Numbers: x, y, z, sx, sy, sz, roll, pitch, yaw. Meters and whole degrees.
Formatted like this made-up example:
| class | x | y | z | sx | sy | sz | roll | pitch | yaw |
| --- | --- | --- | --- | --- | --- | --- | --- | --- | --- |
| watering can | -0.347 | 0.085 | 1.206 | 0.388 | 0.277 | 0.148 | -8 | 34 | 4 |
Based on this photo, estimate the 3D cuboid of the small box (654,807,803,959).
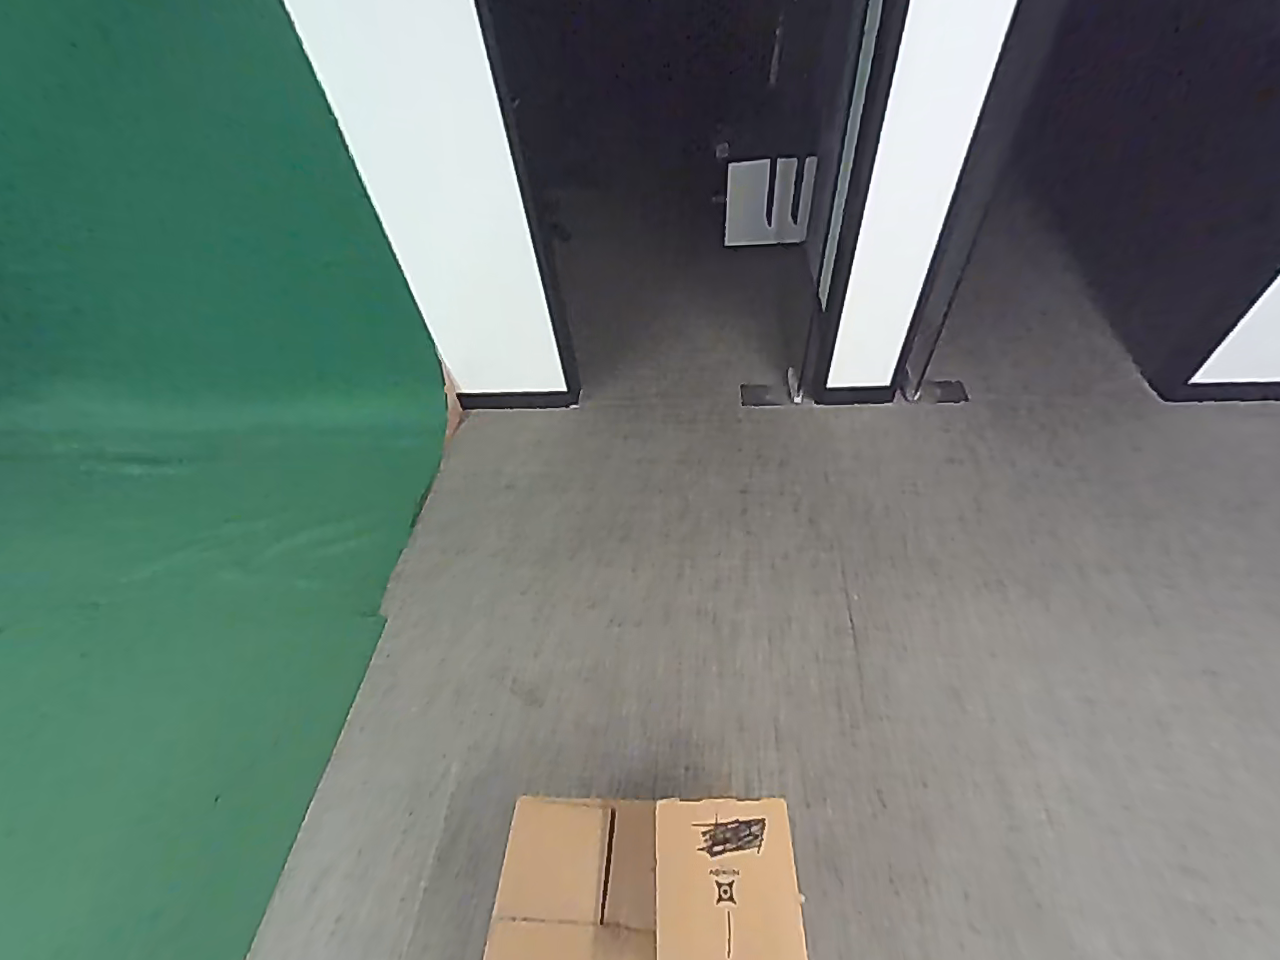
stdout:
| class | x | y | z | sx | sy | sz | roll | pitch | yaw |
| --- | --- | --- | --- | --- | --- | --- | --- | --- | --- |
| small box | 0.107 | 0.537 | 0.692 | 0.168 | 0.176 | 0.179 | -4 | 49 | 6 |
